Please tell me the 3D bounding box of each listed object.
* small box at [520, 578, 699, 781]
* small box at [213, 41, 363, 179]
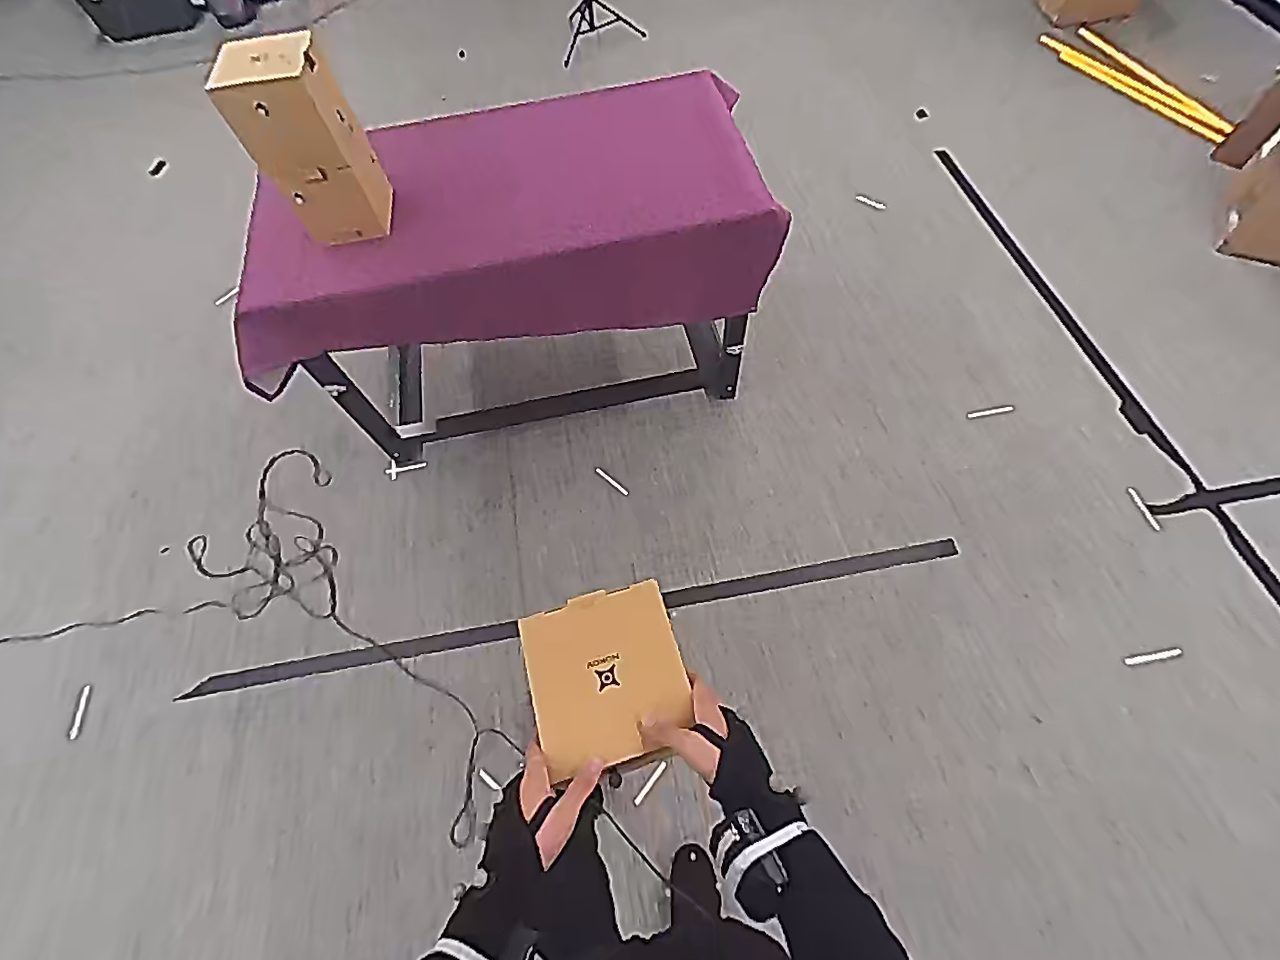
[{"bbox_3d":[-0.033,0.247,0.652,0.168,0.176,0.179,-15,58,-7],"label":"small box"},{"bbox_3d":[-0.687,-0.730,1.078,0.179,0.176,0.168,-8,62,-1],"label":"small box"}]
